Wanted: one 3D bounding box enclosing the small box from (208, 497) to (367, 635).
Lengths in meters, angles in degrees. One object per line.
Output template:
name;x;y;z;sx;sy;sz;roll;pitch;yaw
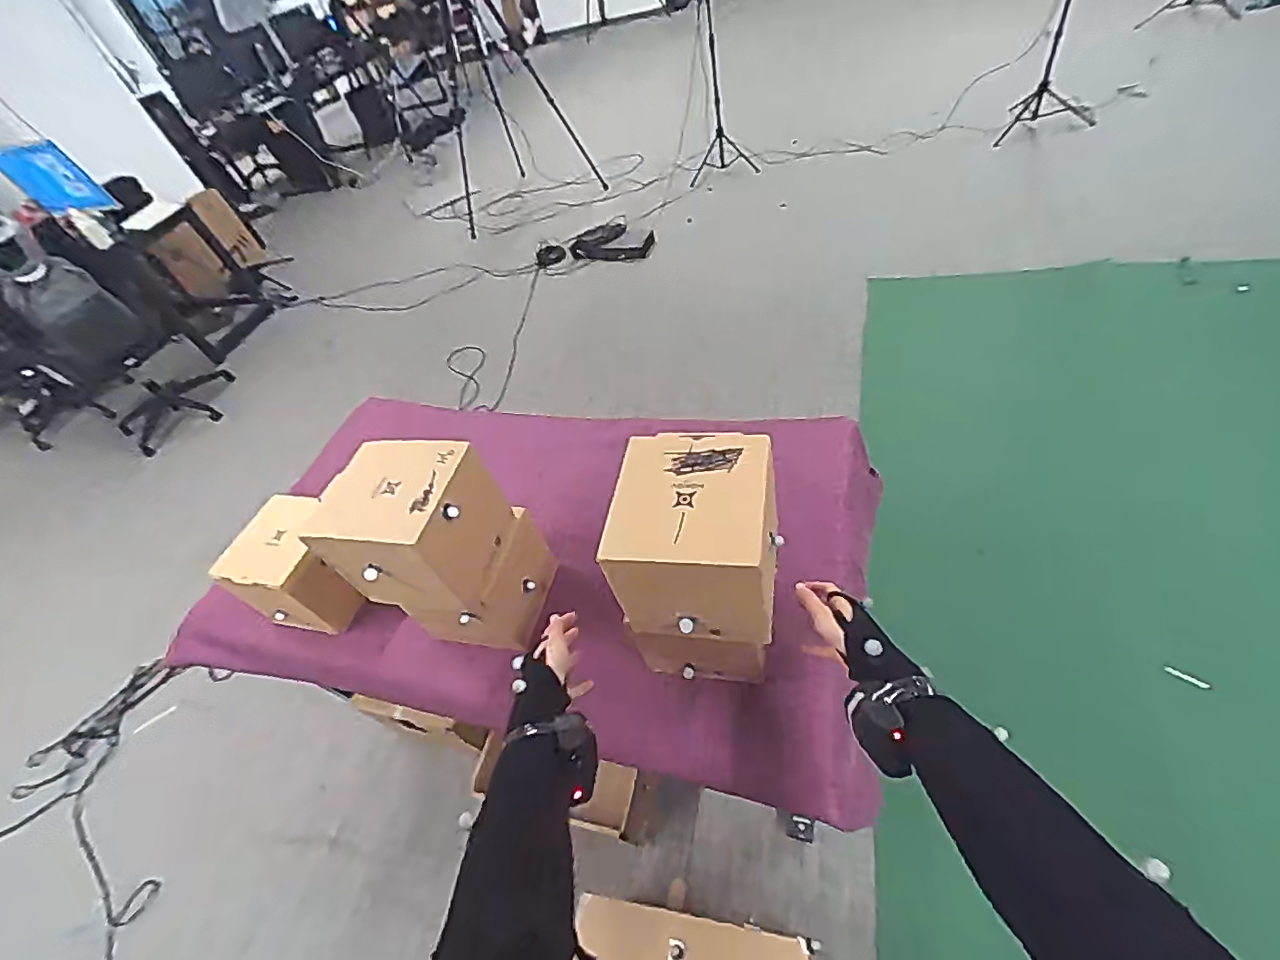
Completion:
small box;-0.598;0.153;0.972;0.168;0.176;0.179;3;51;18

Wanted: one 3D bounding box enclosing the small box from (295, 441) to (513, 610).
small box;-0.305;0.064;0.738;0.179;0.176;0.168;1;50;18

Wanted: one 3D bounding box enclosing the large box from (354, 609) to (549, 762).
large box;-0.495;0.518;1.522;0.320;0.320;0.408;3;52;18

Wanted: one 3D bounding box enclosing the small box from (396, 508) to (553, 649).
small box;-0.261;0.156;0.868;0.179;0.176;0.168;2;49;18

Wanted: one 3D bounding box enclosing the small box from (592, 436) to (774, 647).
small box;0.064;0.068;0.625;0.168;0.176;0.179;0;49;19

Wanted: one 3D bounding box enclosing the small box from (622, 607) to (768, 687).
small box;0.089;0.165;0.758;0.168;0.176;0.179;0;49;18
